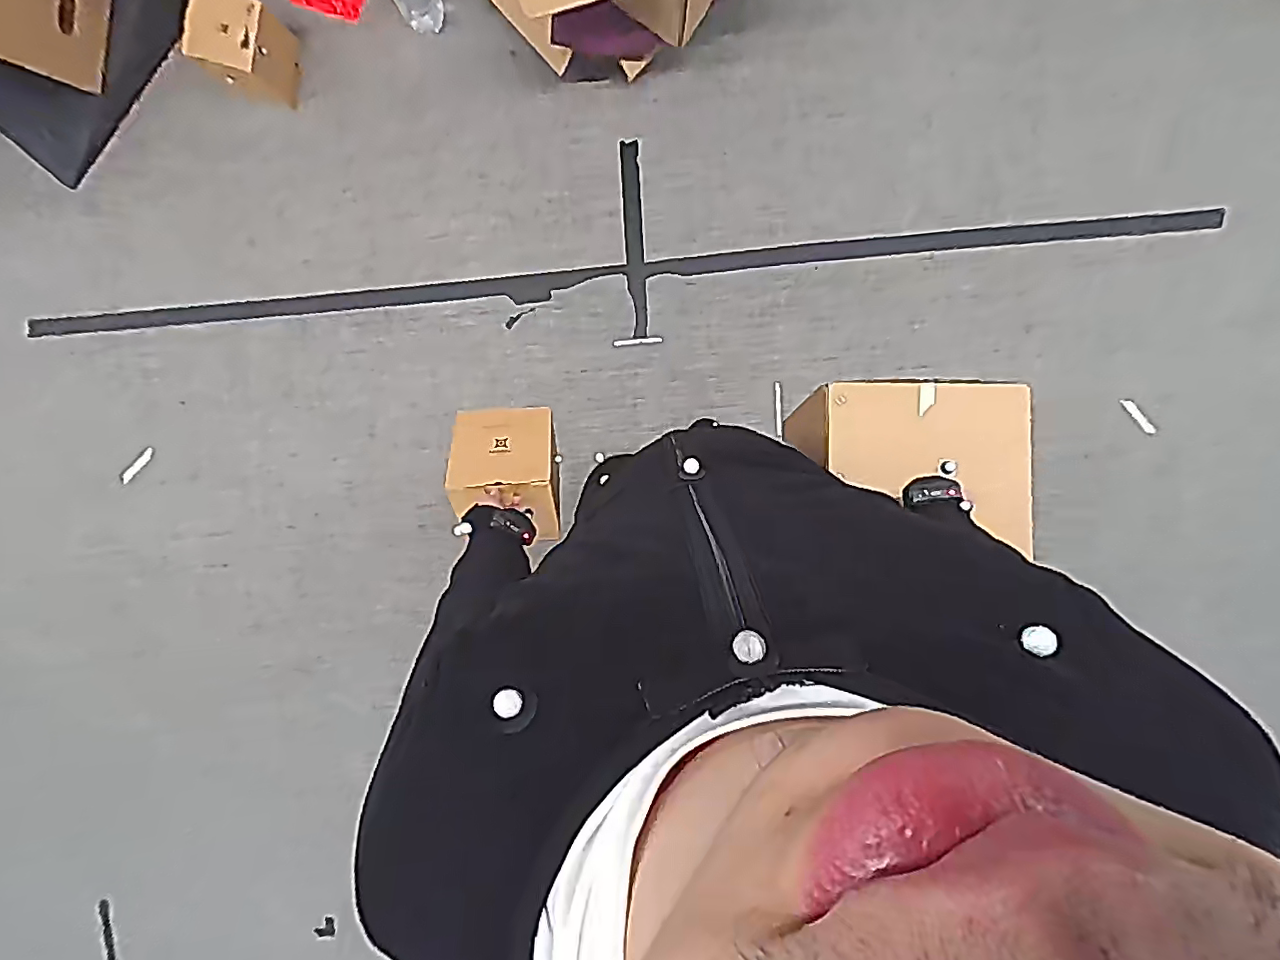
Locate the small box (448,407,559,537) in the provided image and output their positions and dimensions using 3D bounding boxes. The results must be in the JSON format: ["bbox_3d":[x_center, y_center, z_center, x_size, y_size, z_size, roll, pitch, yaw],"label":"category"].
[{"bbox_3d":[-0.235,-0.008,0.973,0.168,0.179,0.176,-4,141,-6],"label":"small box"}]
